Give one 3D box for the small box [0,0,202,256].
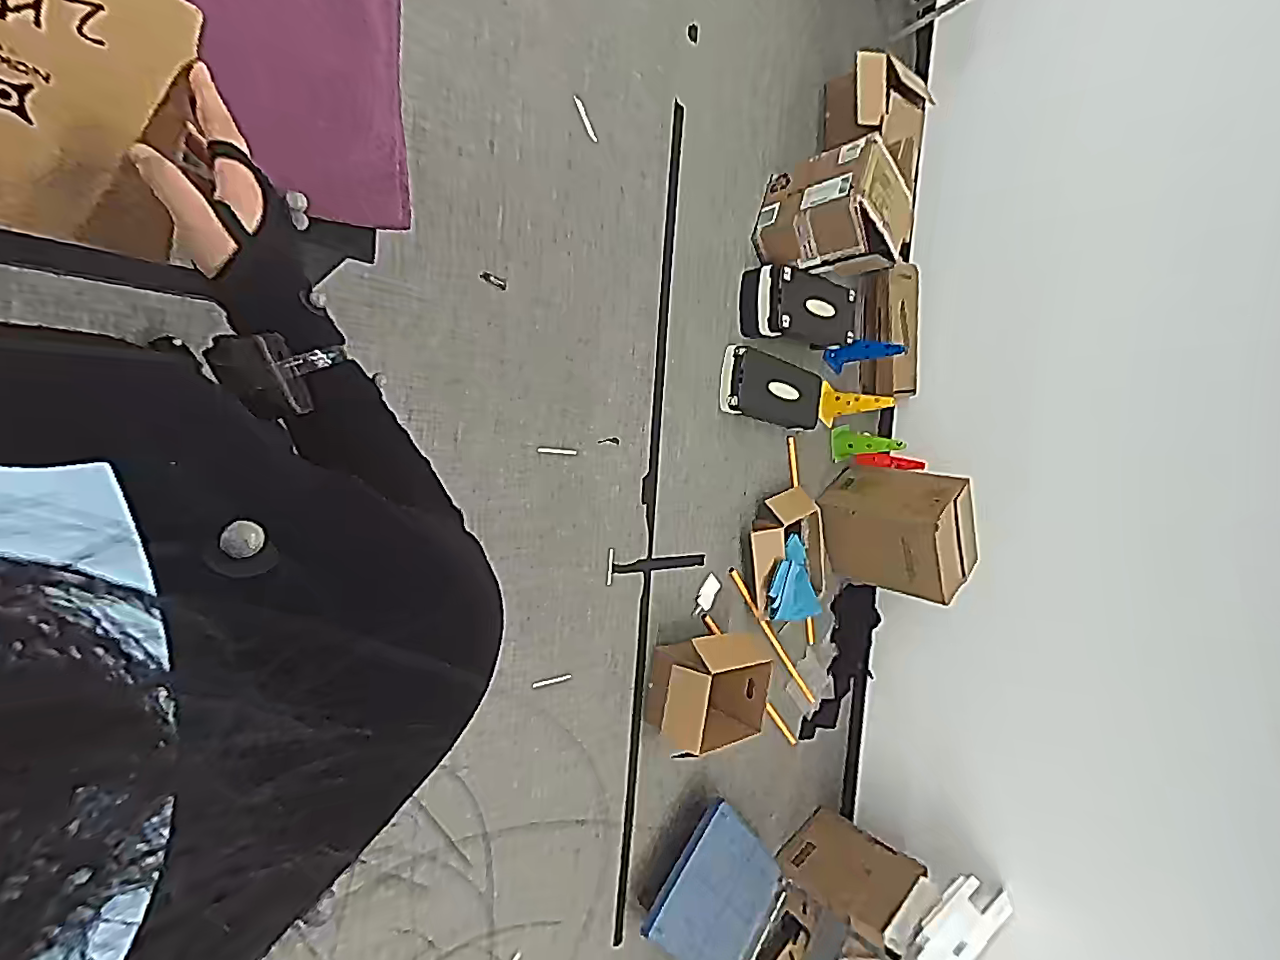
[{"bbox_3d":[-0.425,-0.289,0.371,0.168,0.176,0.179,5,119,-47],"label":"small box"}]
